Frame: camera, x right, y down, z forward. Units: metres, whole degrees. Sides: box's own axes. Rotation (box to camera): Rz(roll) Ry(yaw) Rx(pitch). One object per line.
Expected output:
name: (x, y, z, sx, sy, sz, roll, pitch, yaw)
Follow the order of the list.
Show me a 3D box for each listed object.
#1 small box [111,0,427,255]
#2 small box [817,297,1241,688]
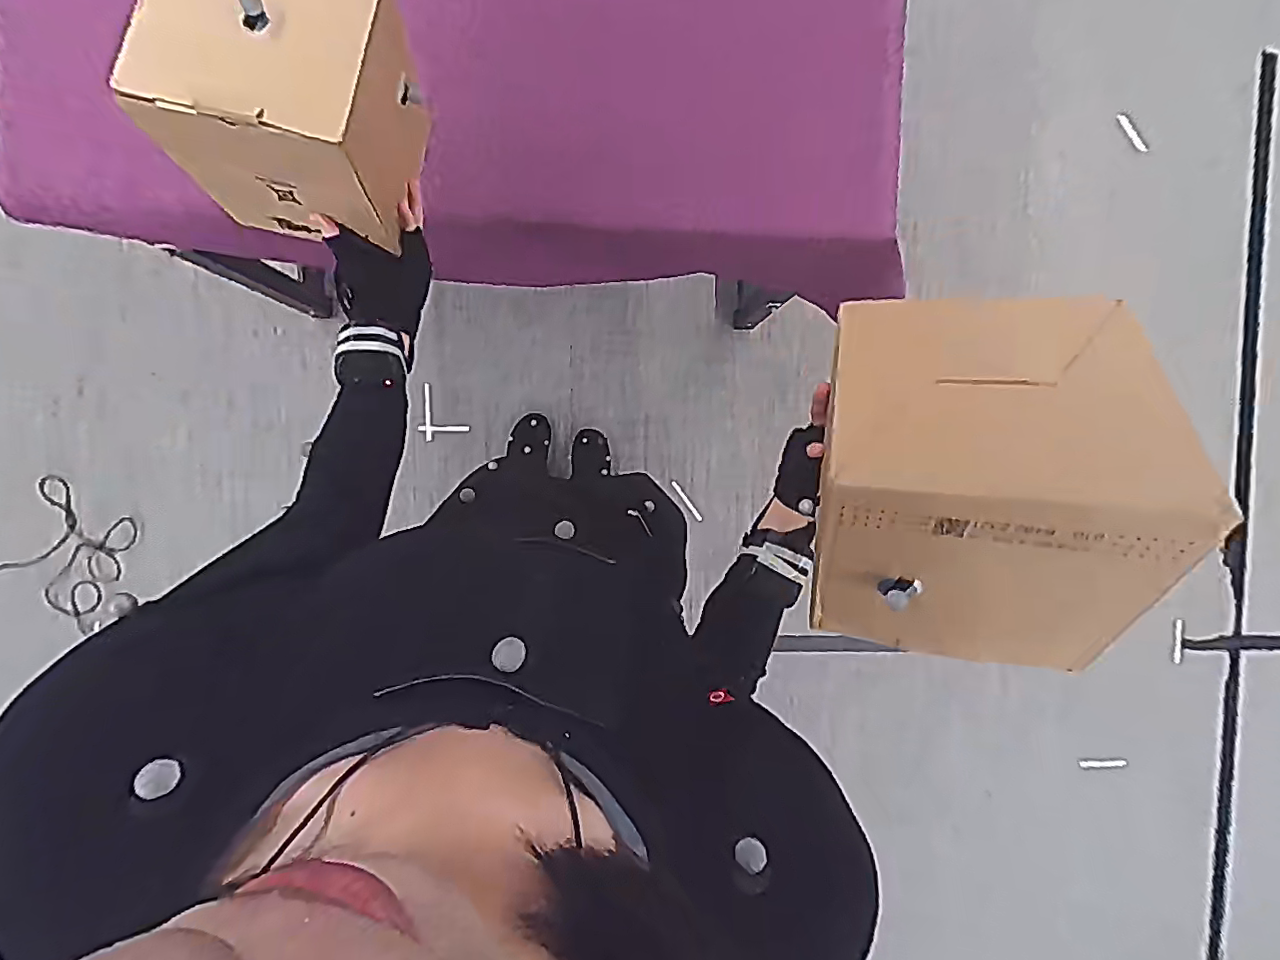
small box: (-0.310, -0.346, 0.497, 0.168, 0.179, 0.176, 10, 80, -9)
small box: (0.210, 0.003, 0.347, 0.168, 0.176, 0.179, 7, 50, 17)
